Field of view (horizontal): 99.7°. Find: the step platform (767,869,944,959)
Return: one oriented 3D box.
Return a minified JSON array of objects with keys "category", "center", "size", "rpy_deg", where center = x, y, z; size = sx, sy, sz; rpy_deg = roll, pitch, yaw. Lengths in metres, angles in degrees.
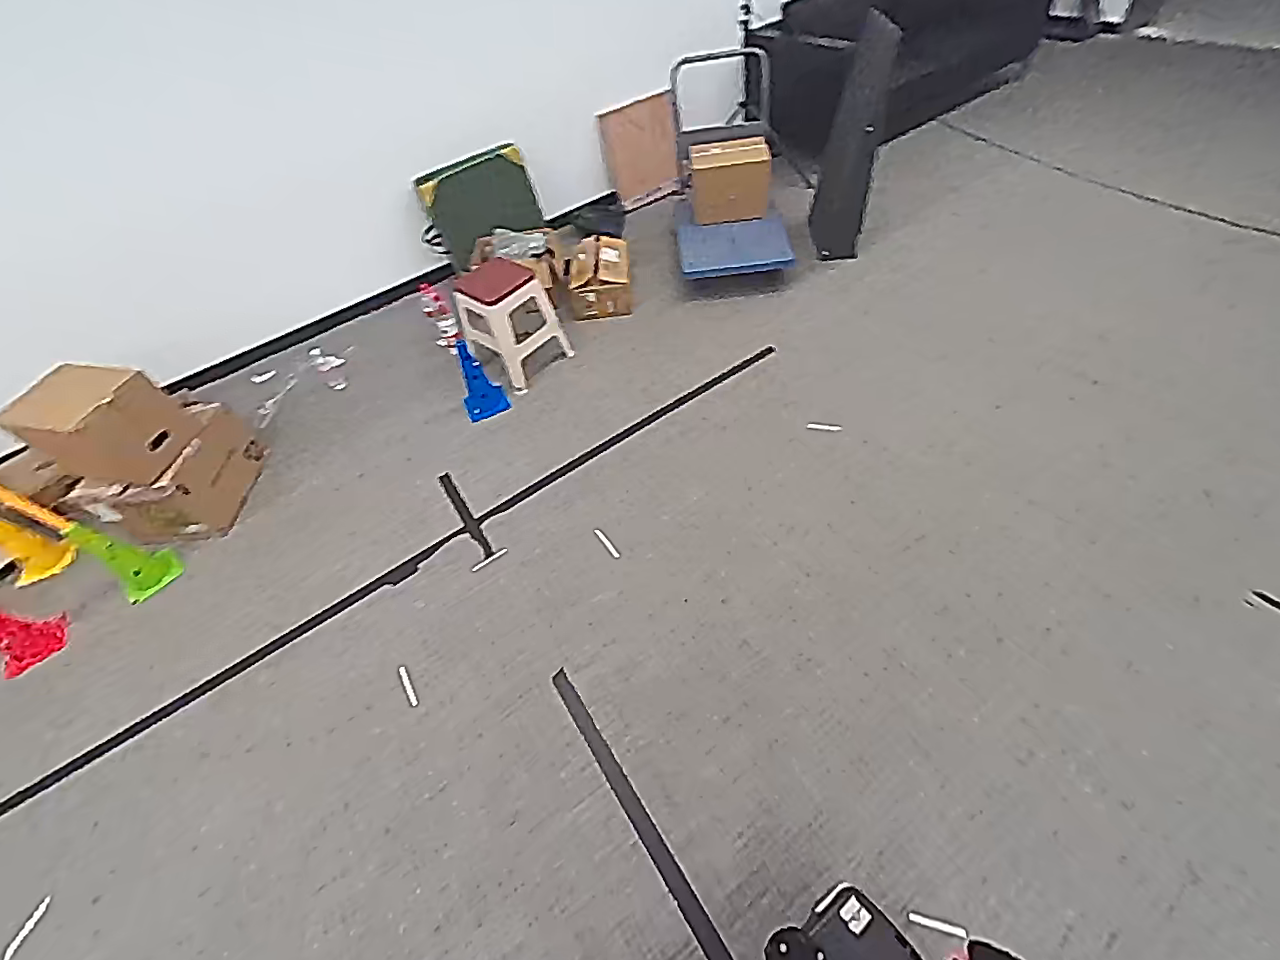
[{"category":"step platform","center":[0.313,1.135,1.067],"size":[0.684,0.204,0.286],"rpy_deg":[-33,53,-18]}]
